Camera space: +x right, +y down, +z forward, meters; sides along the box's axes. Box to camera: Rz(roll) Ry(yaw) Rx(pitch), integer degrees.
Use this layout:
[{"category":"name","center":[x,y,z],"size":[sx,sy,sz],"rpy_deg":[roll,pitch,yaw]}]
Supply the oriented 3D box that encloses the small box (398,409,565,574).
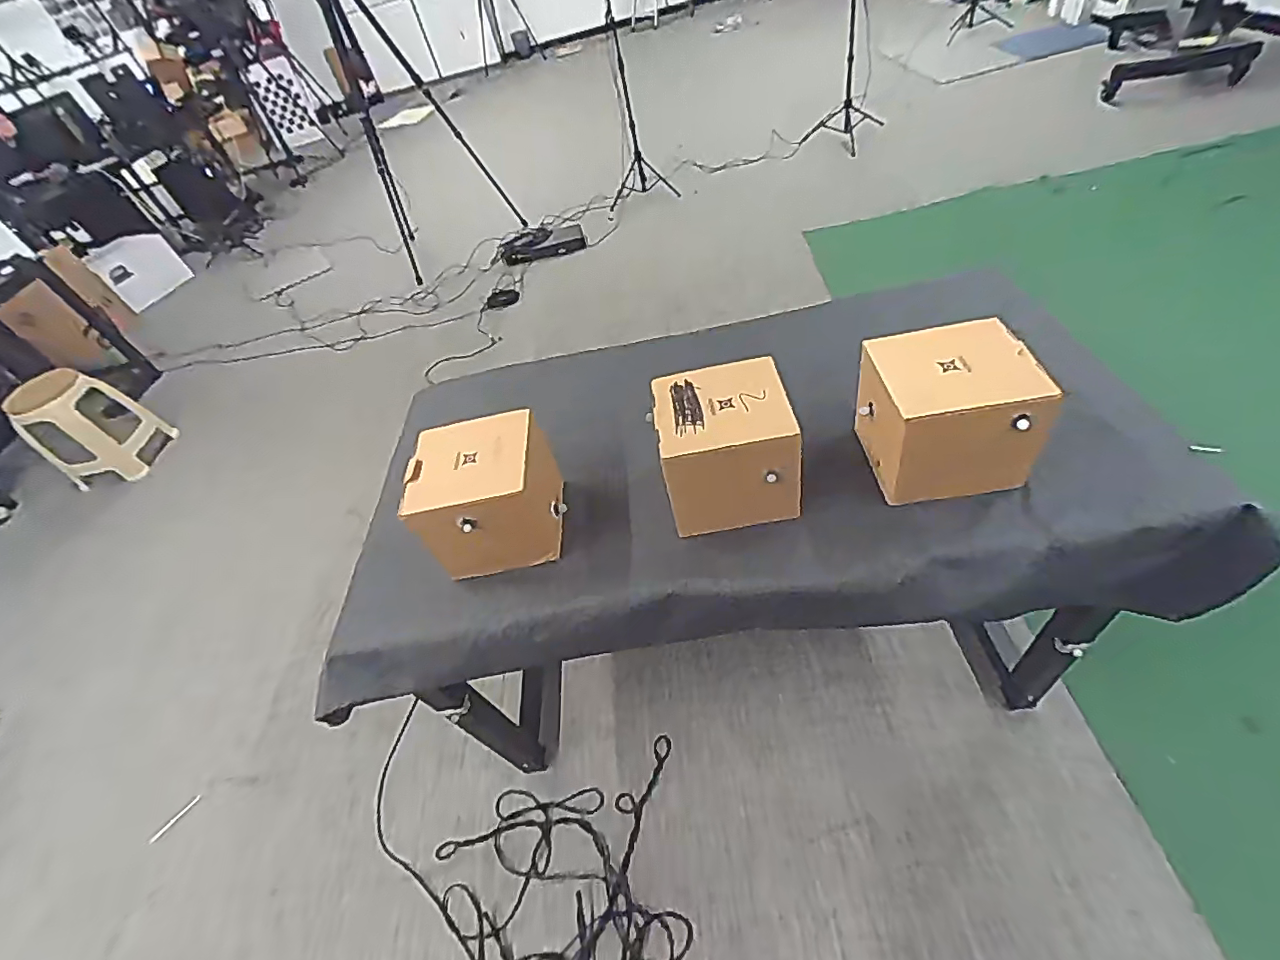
[{"category":"small box","center":[-0.222,0.023,0.808],"size":[0.179,0.176,0.168],"rpy_deg":[-11,48,5]}]

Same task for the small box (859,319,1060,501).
[{"category":"small box","center":[0.406,-0.088,0.730],"size":[0.179,0.176,0.168],"rpy_deg":[-9,47,8]}]
